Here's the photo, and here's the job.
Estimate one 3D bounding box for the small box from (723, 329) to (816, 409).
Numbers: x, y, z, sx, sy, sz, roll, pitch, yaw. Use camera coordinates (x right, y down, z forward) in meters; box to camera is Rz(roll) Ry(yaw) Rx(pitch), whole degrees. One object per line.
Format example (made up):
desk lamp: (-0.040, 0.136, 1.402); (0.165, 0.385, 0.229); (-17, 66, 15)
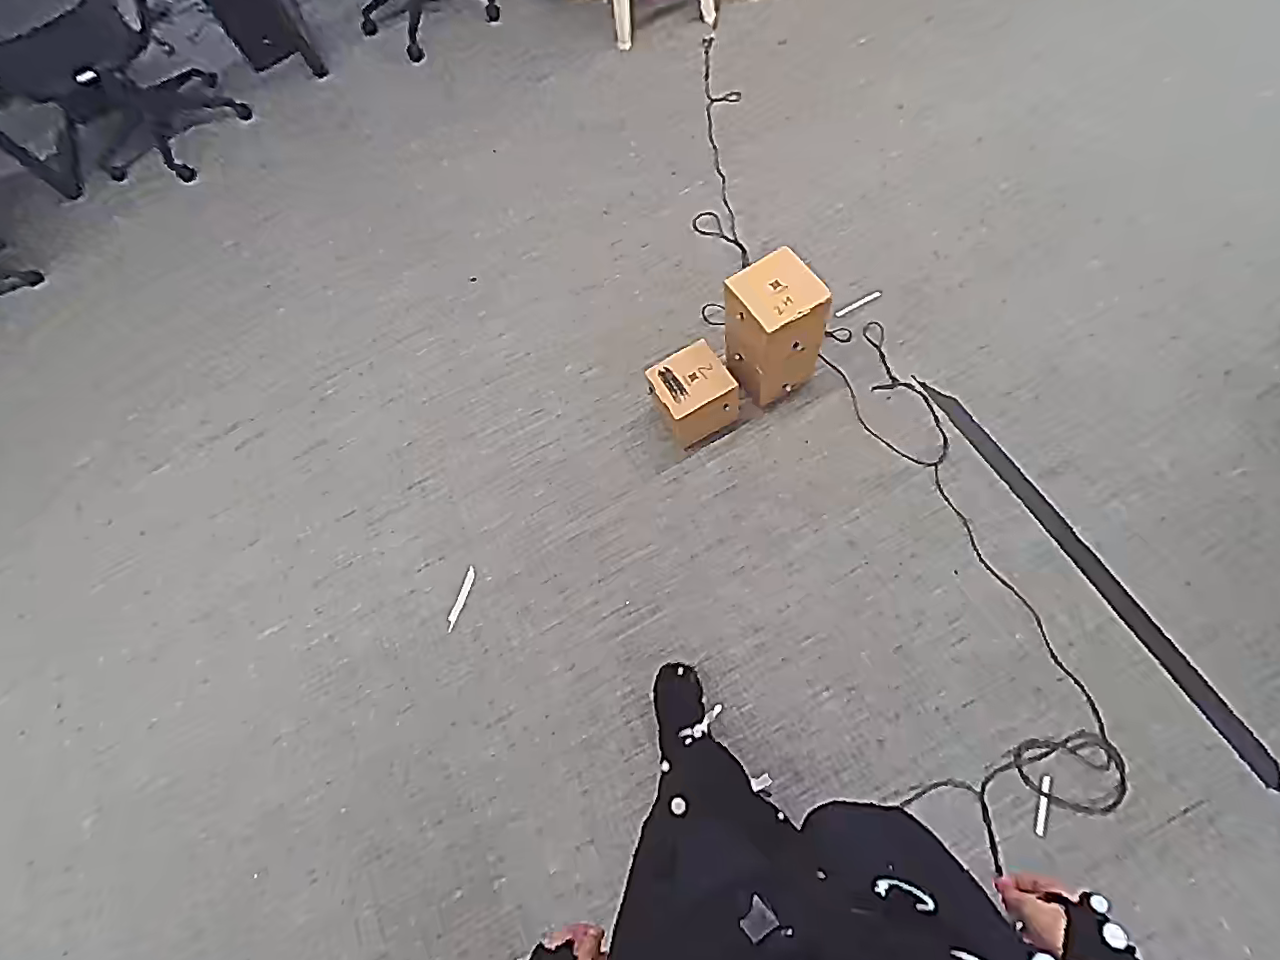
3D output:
small box: (0.326, -0.317, 1.399); (0.168, 0.176, 0.179); (-29, 68, -2)

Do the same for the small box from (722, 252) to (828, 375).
small box: (0.302, -0.377, 1.247); (0.168, 0.176, 0.179); (-31, 67, -2)
